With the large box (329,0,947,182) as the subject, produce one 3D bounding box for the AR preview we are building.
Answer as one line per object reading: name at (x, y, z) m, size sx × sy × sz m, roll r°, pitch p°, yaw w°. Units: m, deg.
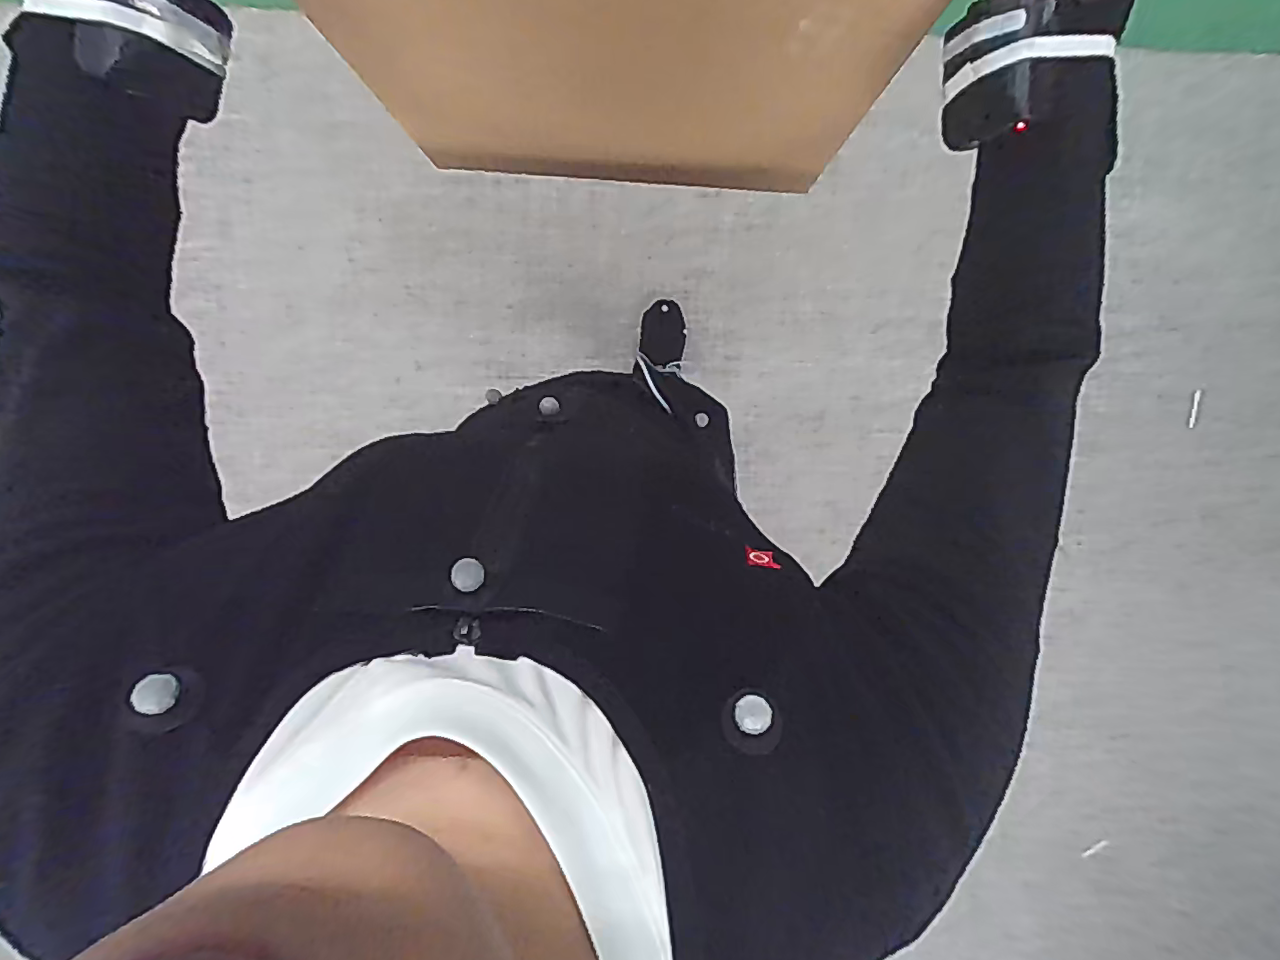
large box at (-0.003, -0.460, 0.419) m, size 0.408 × 0.320 × 0.320 m, roll 3°, pitch 98°, yaw -1°
